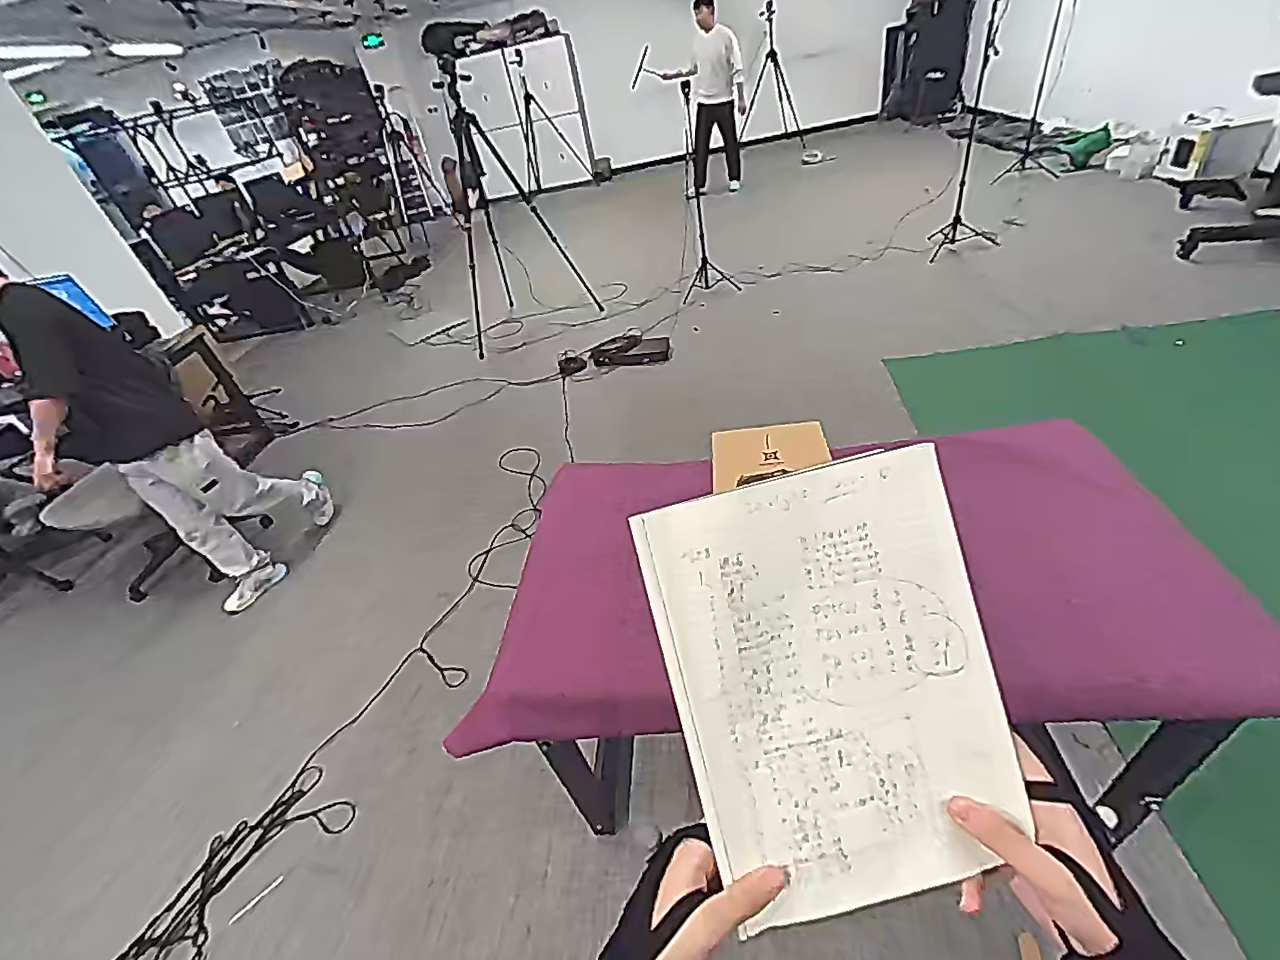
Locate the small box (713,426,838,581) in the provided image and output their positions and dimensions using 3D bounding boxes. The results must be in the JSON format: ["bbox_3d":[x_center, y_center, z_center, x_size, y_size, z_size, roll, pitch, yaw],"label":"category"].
[{"bbox_3d":[0.202,0.041,0.823,0.168,0.176,0.179,-5,37,11],"label":"small box"}]

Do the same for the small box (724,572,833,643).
[{"bbox_3d":[0.232,0.165,0.928,0.168,0.176,0.179,-5,39,10],"label":"small box"}]
